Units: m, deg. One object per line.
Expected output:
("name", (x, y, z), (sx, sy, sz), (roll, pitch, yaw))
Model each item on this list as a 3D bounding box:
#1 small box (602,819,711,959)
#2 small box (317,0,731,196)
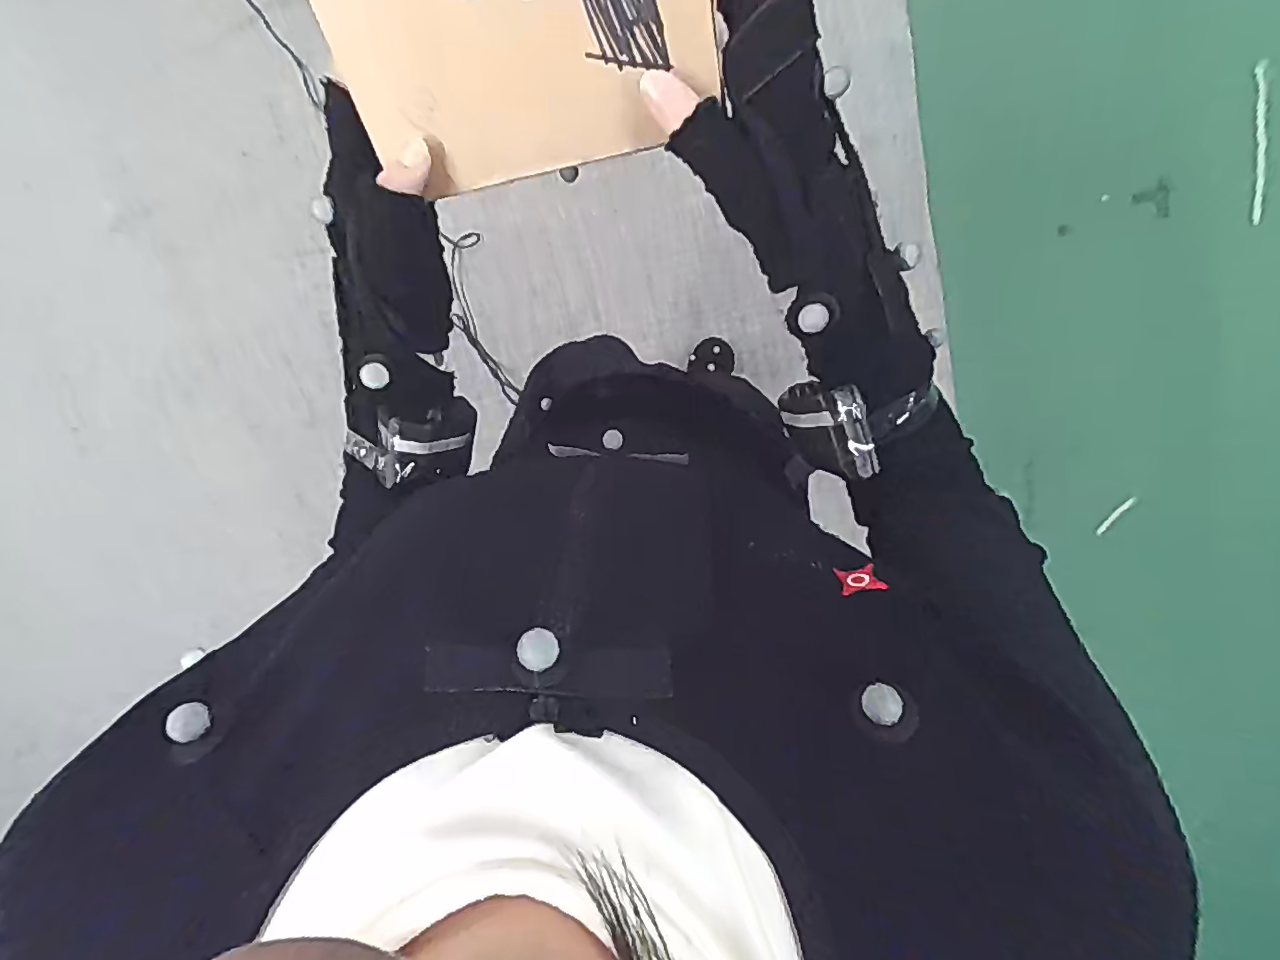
("small box", (0.037, 0.809, 1.071), (0.168, 0.176, 0.179), (-17, 99, 8))
("small box", (-0.053, -0.273, 0.284), (0.179, 0.176, 0.168), (-7, 128, 11))
